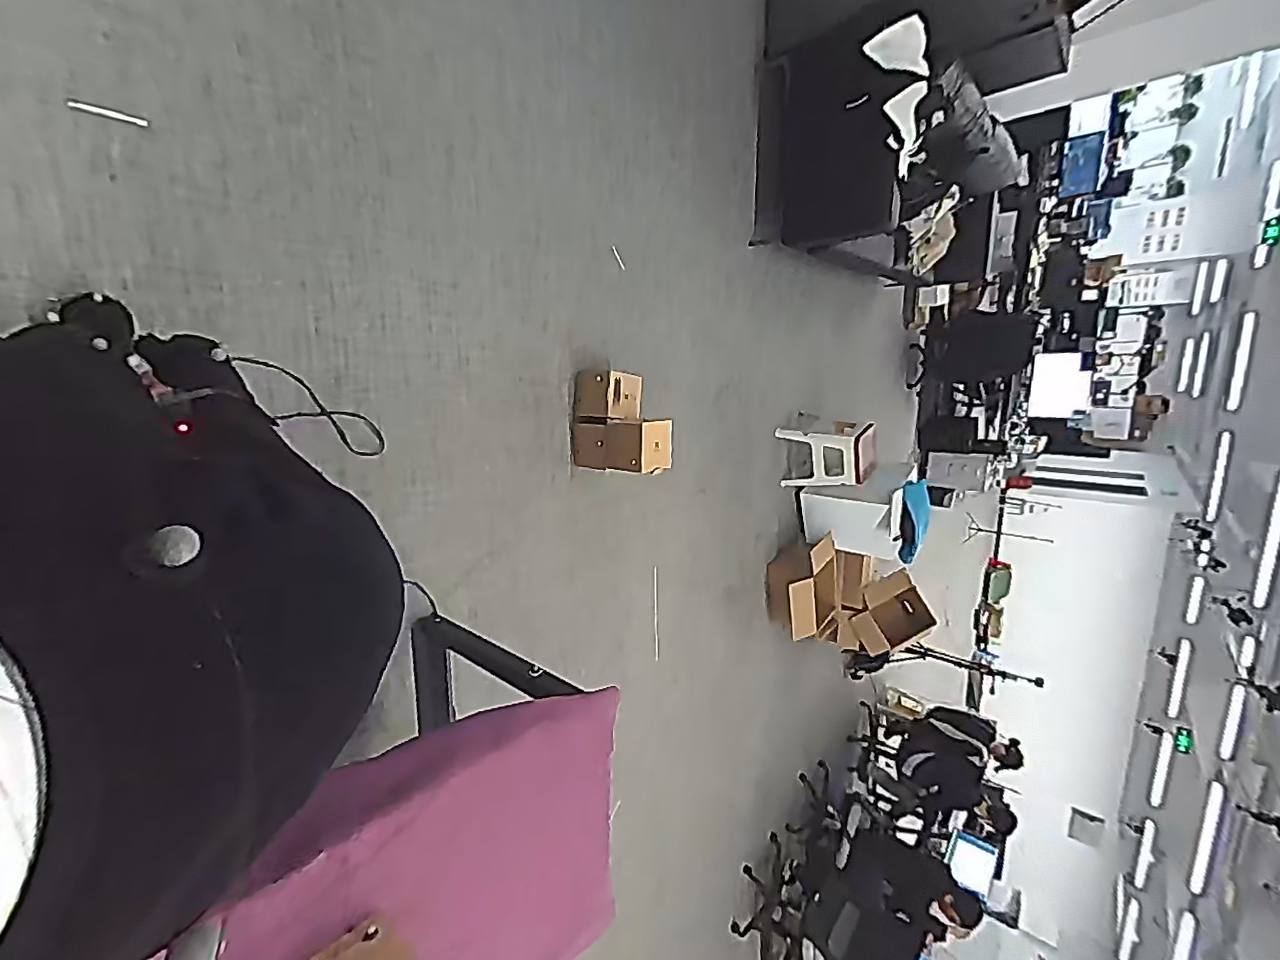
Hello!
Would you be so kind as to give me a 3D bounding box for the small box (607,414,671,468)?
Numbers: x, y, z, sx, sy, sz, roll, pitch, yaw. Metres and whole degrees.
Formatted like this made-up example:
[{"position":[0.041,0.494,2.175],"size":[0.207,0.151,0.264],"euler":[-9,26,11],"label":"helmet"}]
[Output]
[{"position":[-0.005,-0.145,1.925],"size":[0.168,0.176,0.179],"euler":[-13,107,-47],"label":"small box"}]
